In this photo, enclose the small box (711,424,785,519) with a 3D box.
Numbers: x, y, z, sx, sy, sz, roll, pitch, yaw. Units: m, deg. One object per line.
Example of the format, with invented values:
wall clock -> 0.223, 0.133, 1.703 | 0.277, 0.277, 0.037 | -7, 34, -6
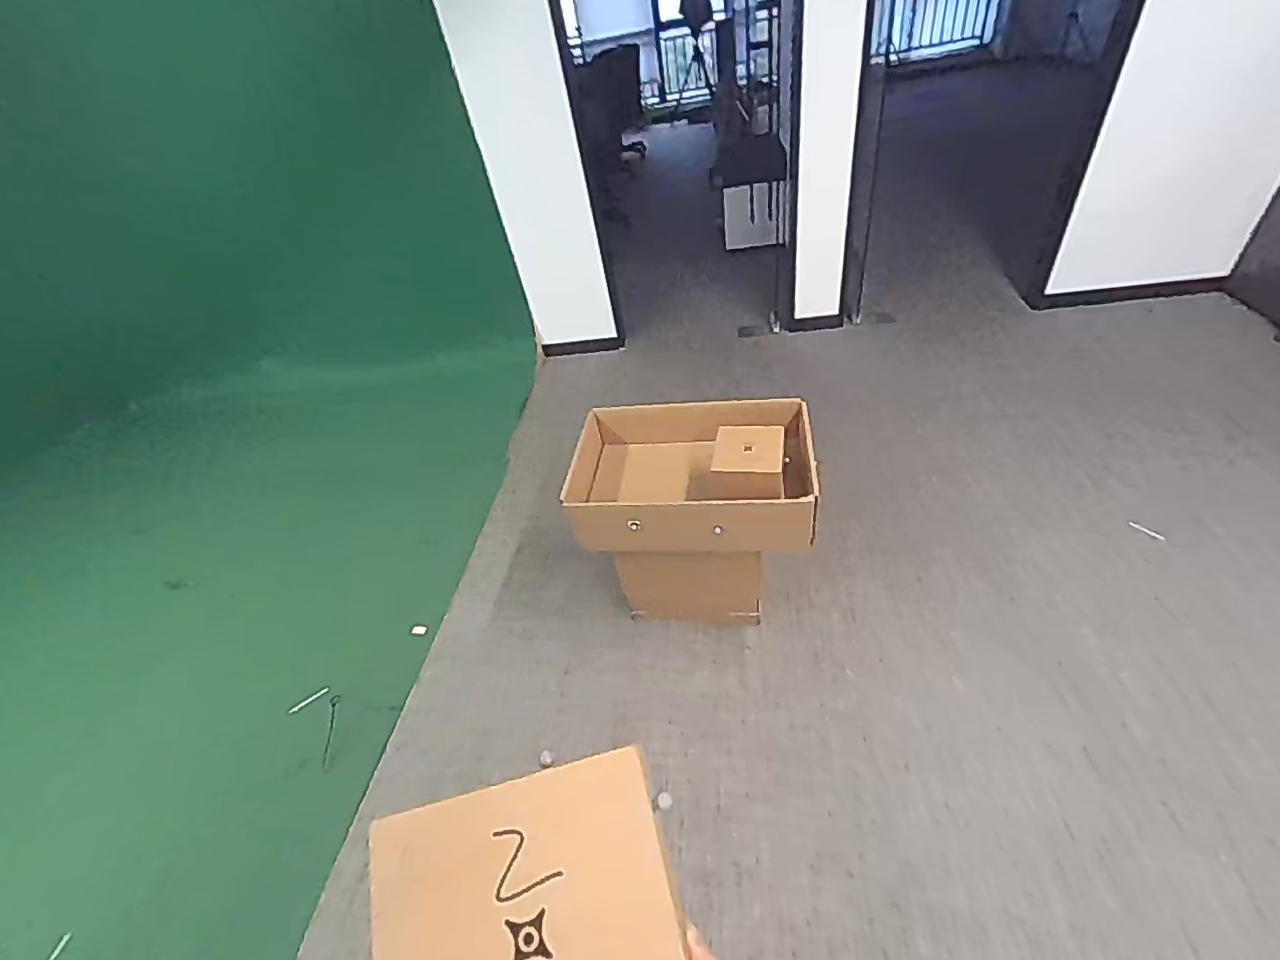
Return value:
small box -> 0.278, -0.023, 1.371 | 0.168, 0.176, 0.179 | 2, 43, 17
